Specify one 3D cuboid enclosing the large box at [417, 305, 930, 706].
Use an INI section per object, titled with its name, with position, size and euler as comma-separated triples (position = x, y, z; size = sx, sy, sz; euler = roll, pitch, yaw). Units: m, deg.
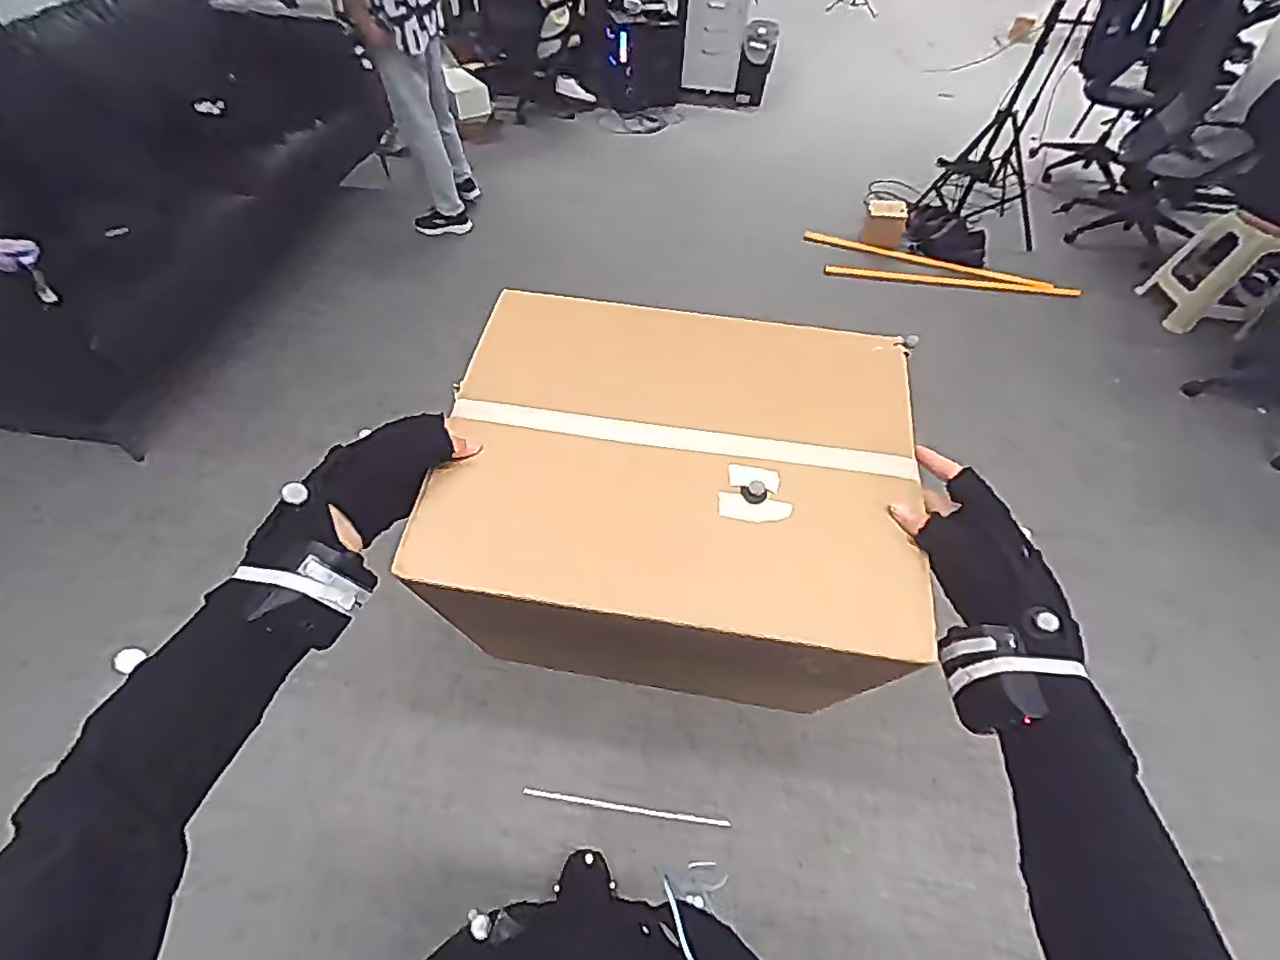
[large box]
position = 0.036, 0.045, 0.612
size = 0.408, 0.320, 0.320
euler = 9, 61, 3
